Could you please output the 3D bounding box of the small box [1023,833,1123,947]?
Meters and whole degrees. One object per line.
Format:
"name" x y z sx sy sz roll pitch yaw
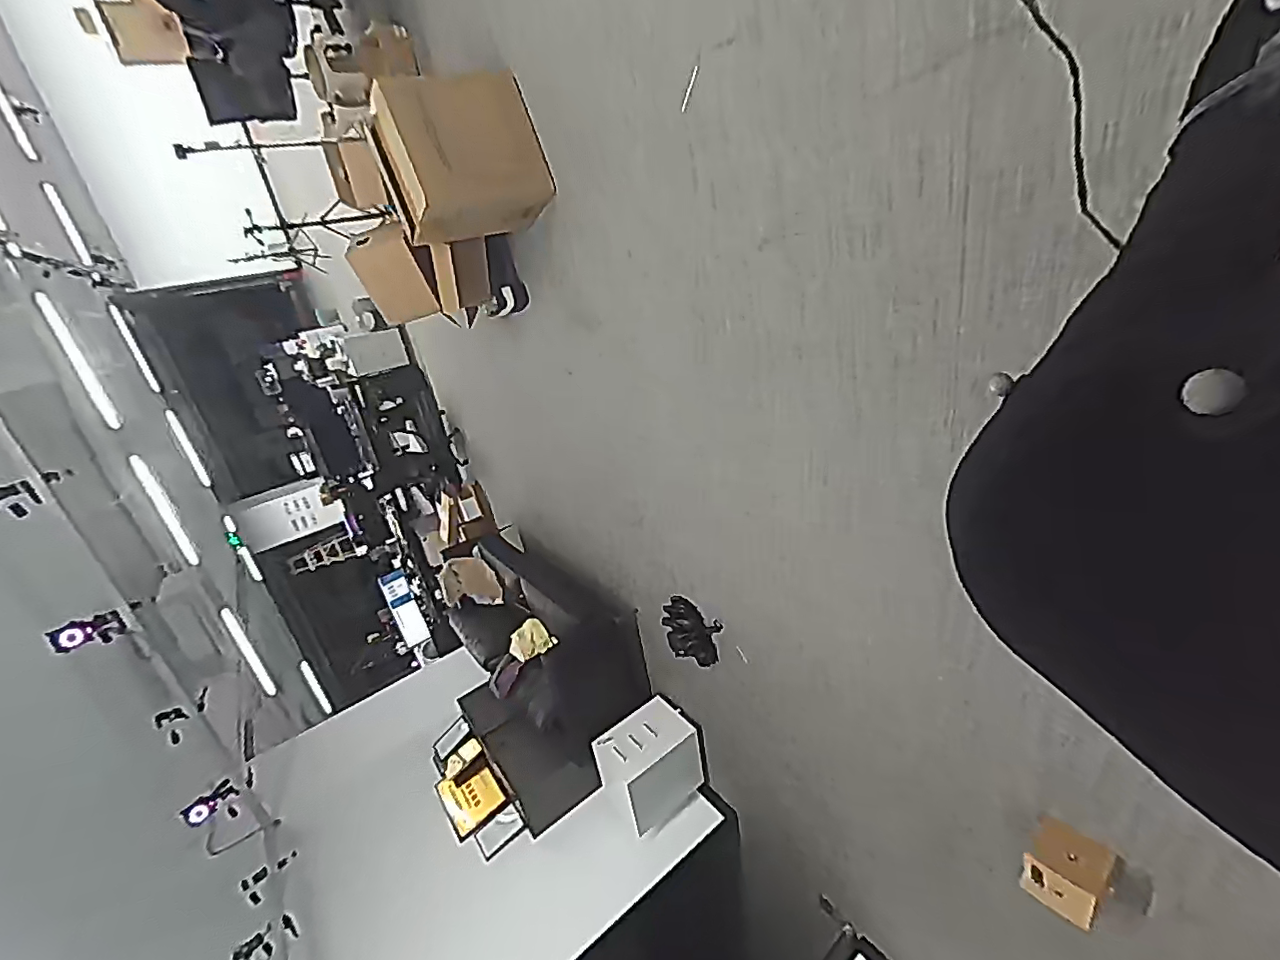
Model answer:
"small box" 1.262 1.181 1.579 0.179 0.176 0.168 18 126 51
